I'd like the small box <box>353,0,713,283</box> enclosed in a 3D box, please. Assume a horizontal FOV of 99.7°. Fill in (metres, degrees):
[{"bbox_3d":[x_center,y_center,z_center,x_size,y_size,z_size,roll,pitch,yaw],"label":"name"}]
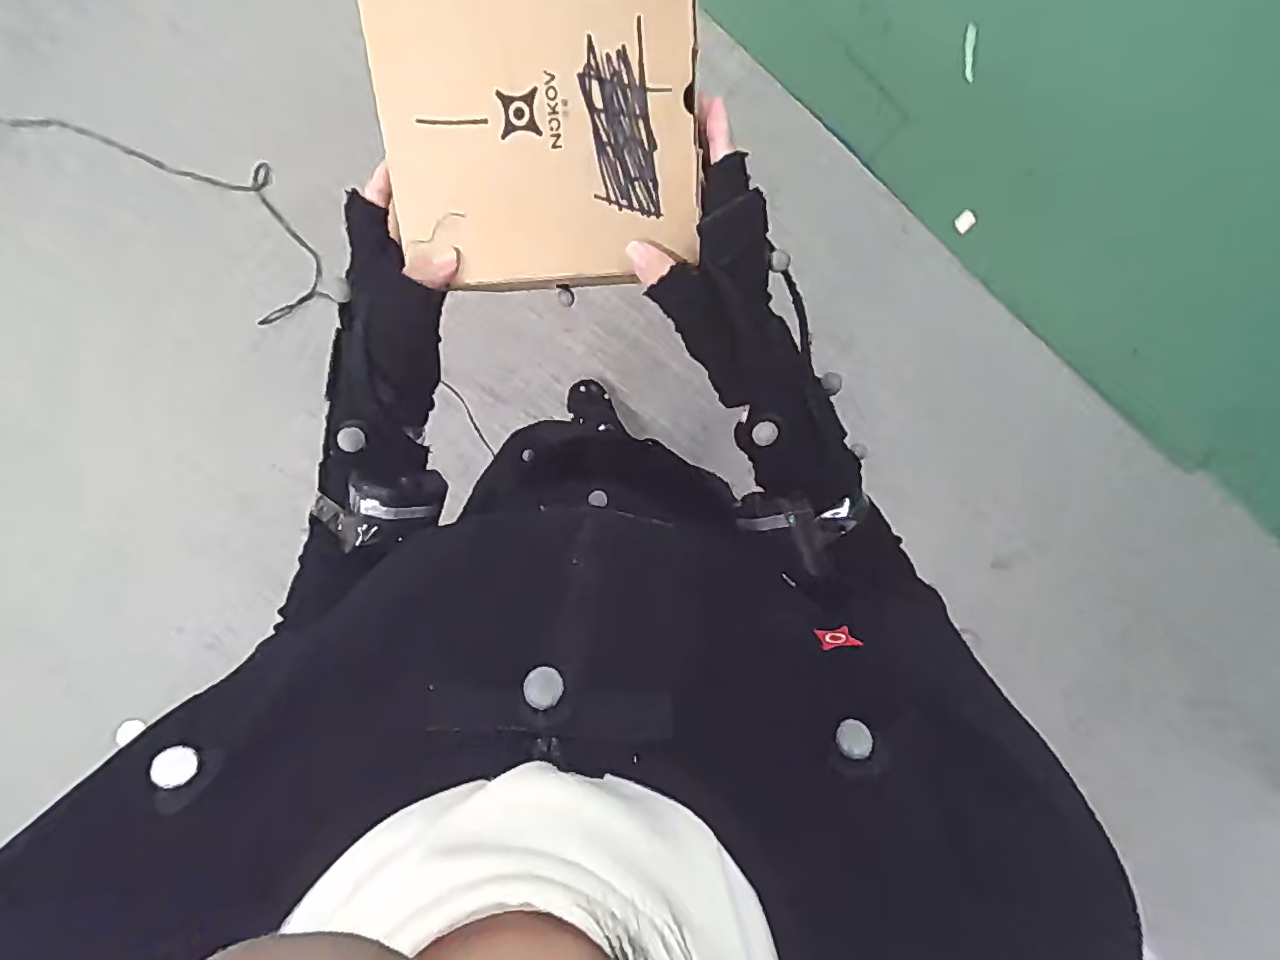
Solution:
[{"bbox_3d":[-0.051,-0.231,0.365,0.179,0.176,0.168,-6,109,6],"label":"small box"}]
